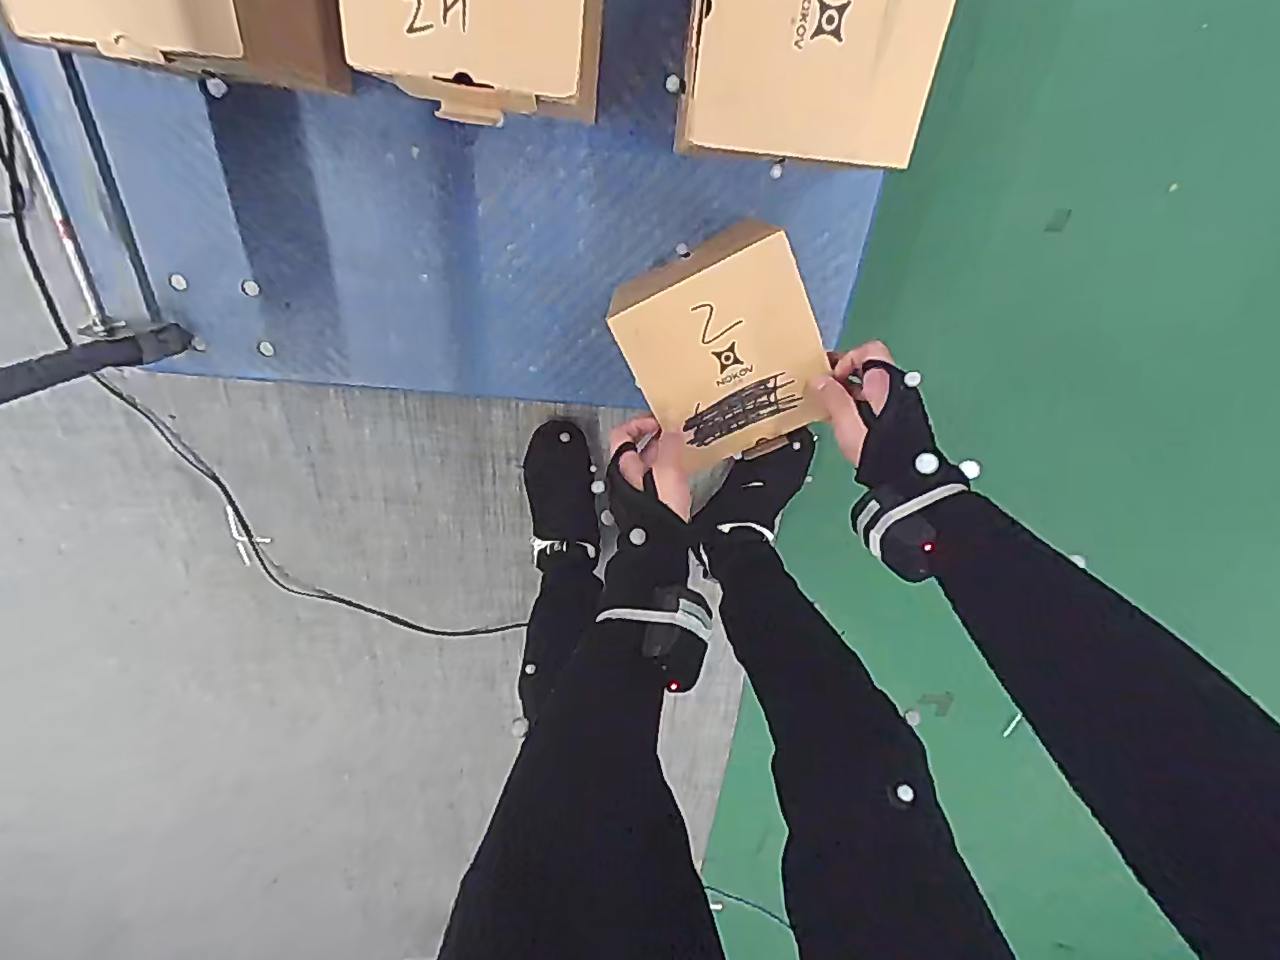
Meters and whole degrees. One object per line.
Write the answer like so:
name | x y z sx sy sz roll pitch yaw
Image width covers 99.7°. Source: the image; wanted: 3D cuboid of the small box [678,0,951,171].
small box | 0.129 -0.361 0.450 0.179 0.176 0.168 6 119 -3

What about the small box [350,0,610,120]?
small box | -0.112 -0.406 0.425 0.168 0.176 0.179 8 119 -3

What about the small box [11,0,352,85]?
small box | -0.347 -0.426 0.414 0.168 0.176 0.179 6 119 -3
